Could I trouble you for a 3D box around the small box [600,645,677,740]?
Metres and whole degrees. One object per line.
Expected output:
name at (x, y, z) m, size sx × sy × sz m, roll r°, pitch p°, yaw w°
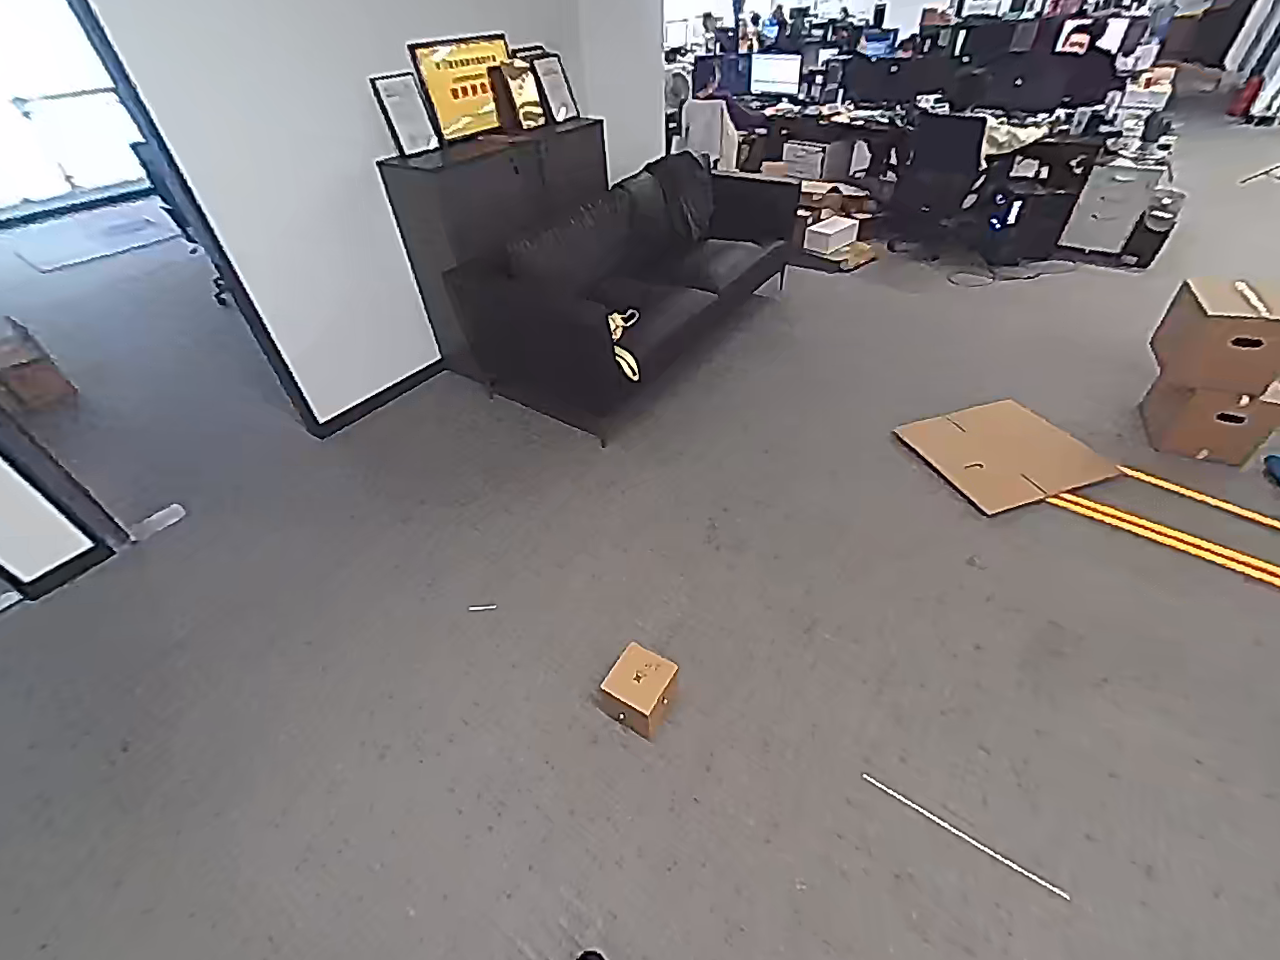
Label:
small box at (0.003, 0.636, 1.612) m, size 0.168 × 0.176 × 0.179 m, roll 21°, pitch 47°, yaw 25°
